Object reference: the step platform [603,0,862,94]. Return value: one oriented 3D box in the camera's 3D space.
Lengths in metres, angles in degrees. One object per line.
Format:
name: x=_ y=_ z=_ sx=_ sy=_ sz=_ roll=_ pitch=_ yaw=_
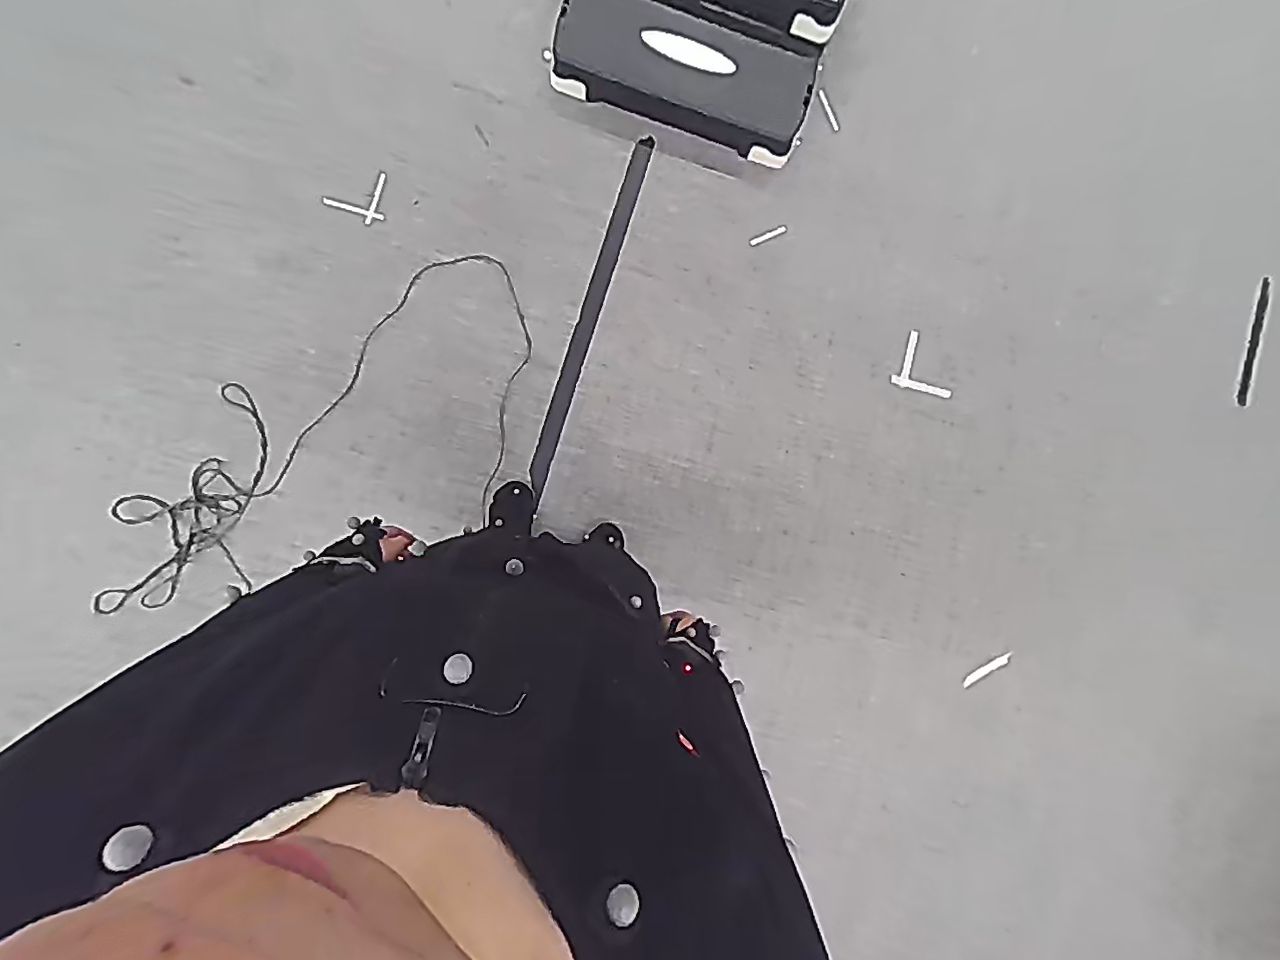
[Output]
step platform: x=0.239 y=-1.313 z=1.401 sx=0.684 sy=0.204 sz=0.286 roll=22 pitch=86 yaw=-4
